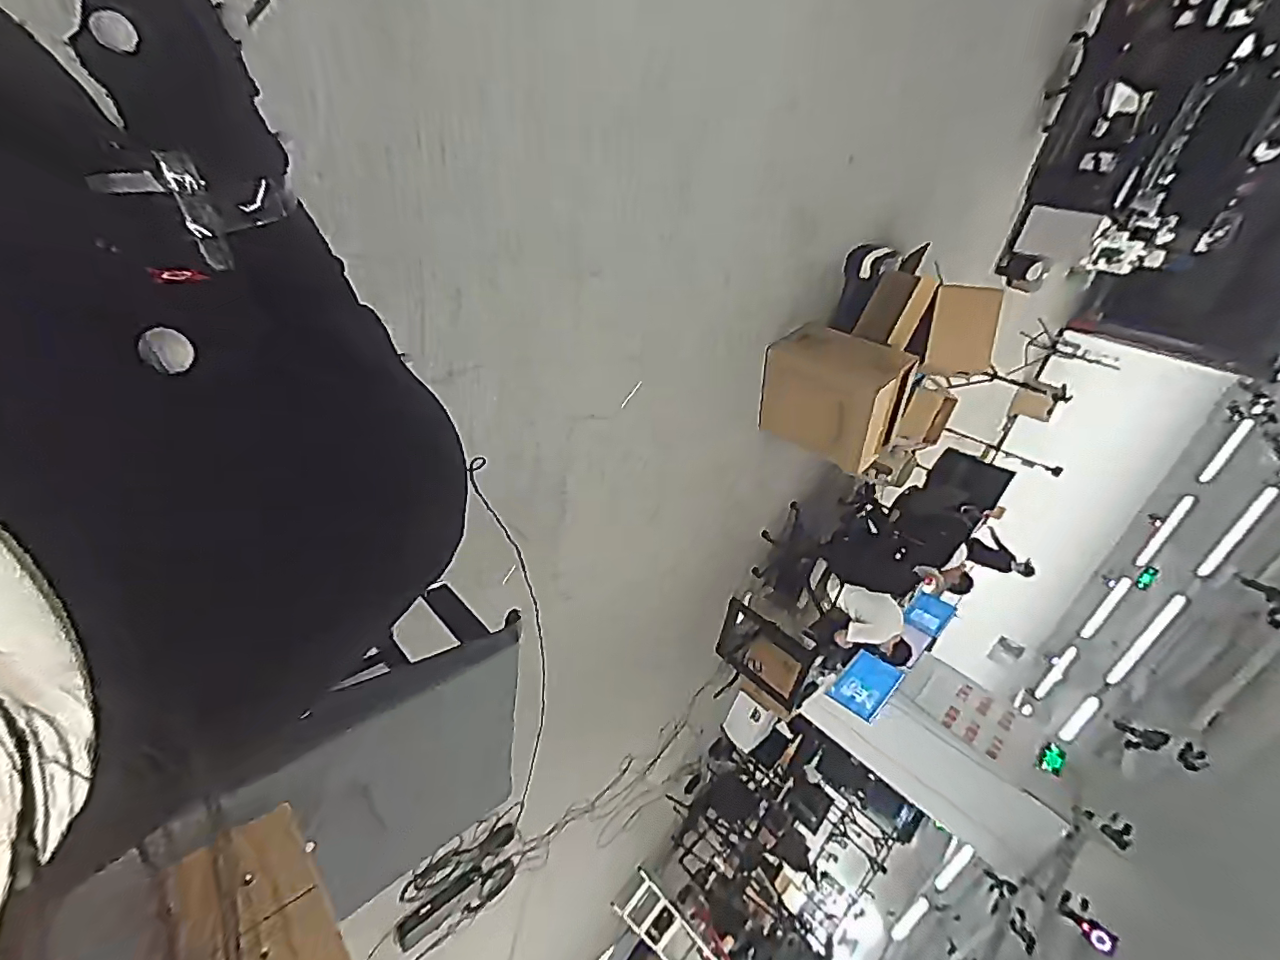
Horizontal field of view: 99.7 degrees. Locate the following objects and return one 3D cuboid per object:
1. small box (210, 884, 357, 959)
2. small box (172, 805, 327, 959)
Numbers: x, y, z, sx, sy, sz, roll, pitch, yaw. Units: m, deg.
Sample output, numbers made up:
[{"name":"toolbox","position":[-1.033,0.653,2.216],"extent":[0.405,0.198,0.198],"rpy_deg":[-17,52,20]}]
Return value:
[{"name":"small box","position":[-0.516,0.753,0.783],"extent":[0.179,0.176,0.168],"rpy_deg":[-17,130,-42]},{"name":"small box","position":[-0.628,0.683,0.876],"extent":[0.179,0.176,0.168],"rpy_deg":[-15,130,-44]}]
